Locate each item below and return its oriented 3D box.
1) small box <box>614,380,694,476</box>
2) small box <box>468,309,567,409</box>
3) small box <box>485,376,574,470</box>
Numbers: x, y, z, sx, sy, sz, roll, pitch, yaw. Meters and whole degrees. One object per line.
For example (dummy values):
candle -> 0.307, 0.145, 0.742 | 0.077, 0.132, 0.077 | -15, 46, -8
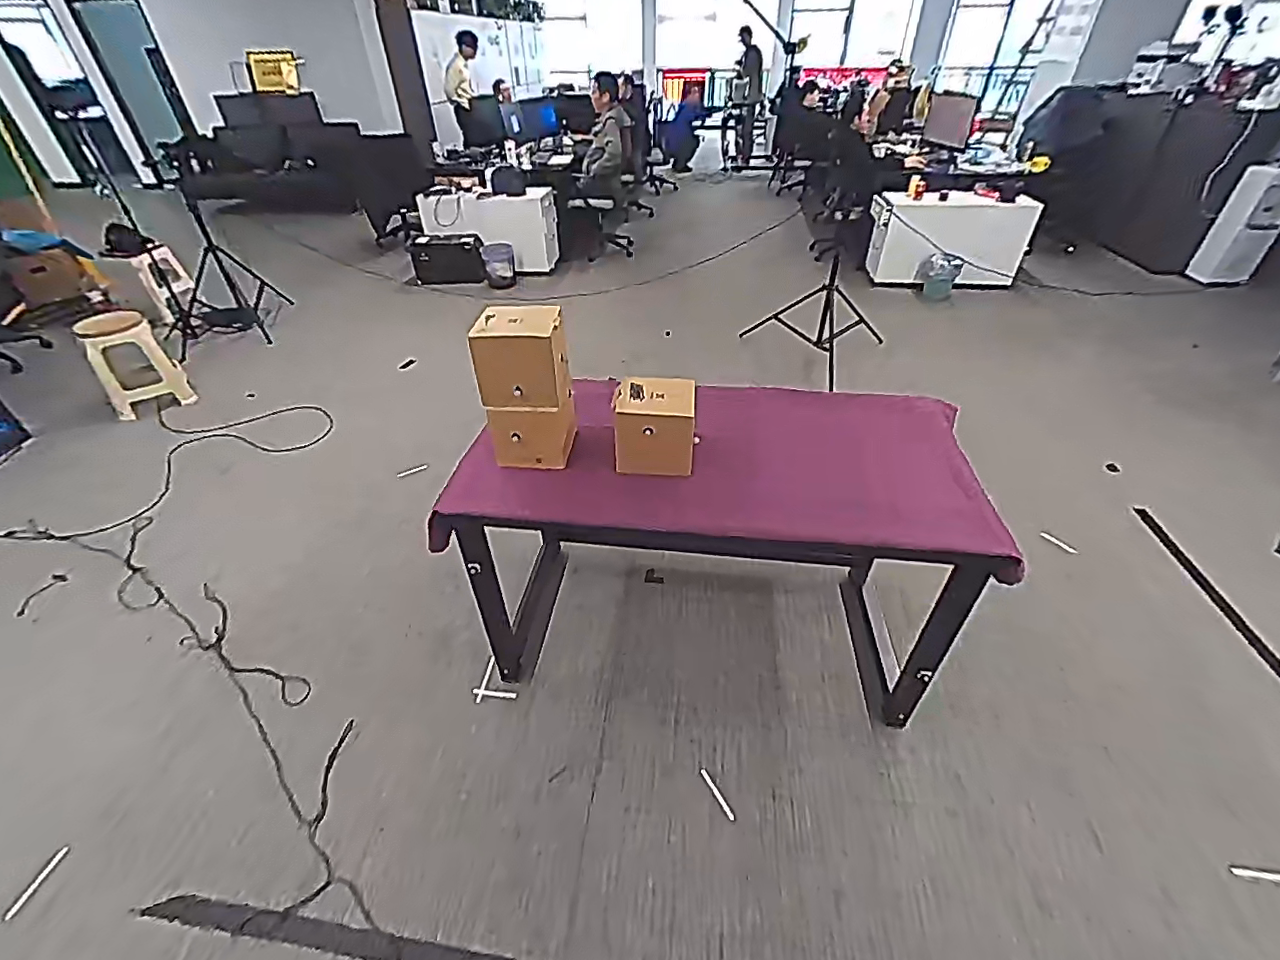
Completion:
small box -> 0.036, -0.123, 1.283 | 0.179, 0.176, 0.168 | 3, 39, 4
small box -> -0.264, -0.271, 1.214 | 0.179, 0.176, 0.168 | 1, 38, 1
small box -> -0.257, -0.138, 1.311 | 0.168, 0.176, 0.179 | 2, 38, 3
